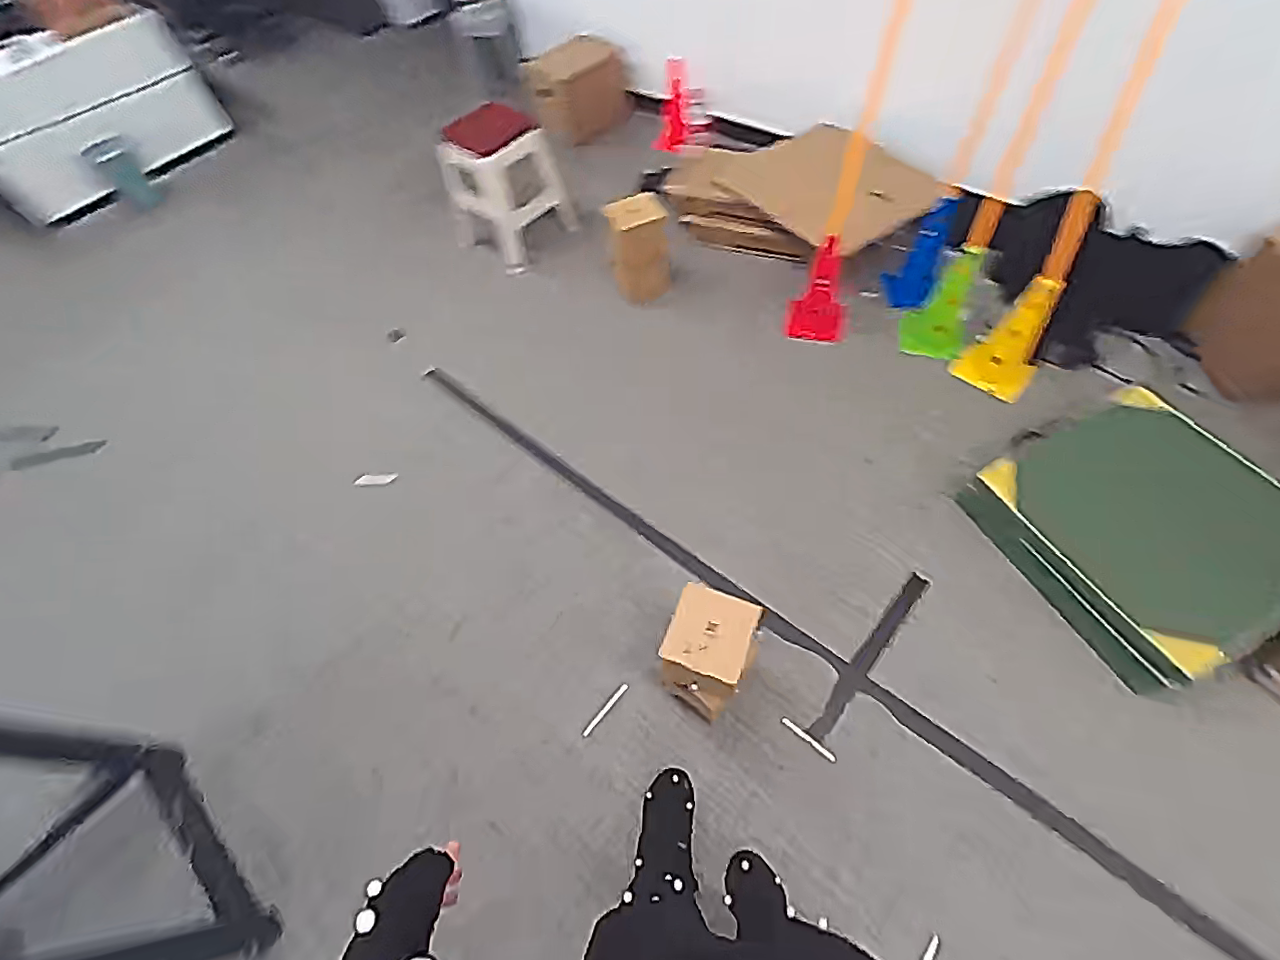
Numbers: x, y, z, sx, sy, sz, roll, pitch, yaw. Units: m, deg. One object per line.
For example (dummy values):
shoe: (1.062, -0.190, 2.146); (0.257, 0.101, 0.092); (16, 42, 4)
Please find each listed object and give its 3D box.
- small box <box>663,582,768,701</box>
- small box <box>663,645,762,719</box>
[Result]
small box: (0.165, 0.355, 1.181); (0.168, 0.176, 0.179); (21, 65, 20)
small box: (0.179, 0.451, 1.315); (0.168, 0.176, 0.179); (34, 67, 24)
